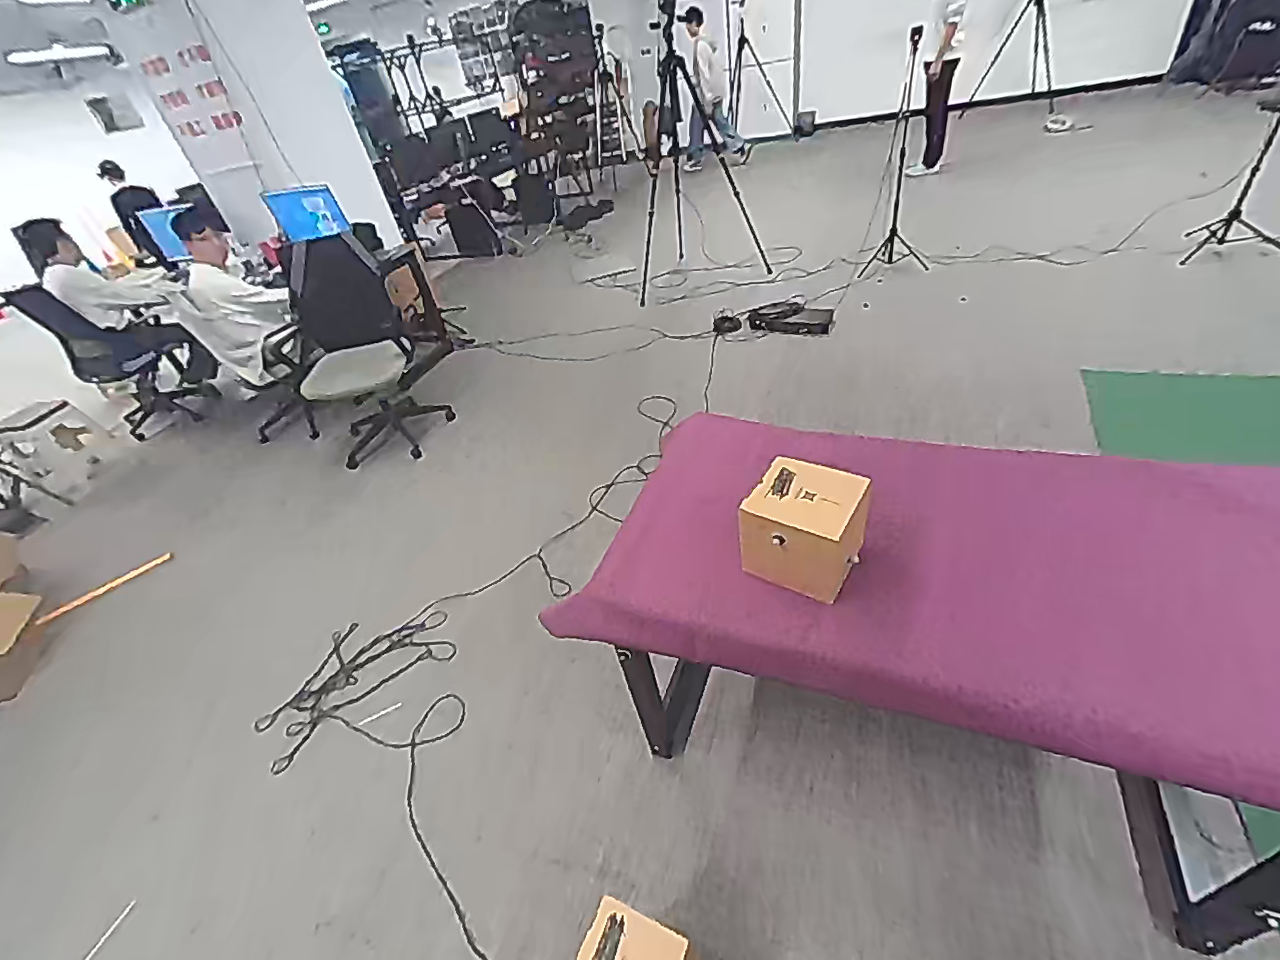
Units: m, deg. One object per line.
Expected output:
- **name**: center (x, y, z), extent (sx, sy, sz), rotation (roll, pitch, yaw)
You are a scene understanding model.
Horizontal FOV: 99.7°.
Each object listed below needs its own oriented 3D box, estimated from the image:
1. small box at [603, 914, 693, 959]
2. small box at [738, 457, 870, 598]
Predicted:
- **small box**: center (0.012, 1.026, 1.079), extent (0.168, 0.176, 0.179), rotation (10, 45, 25)
- **small box**: center (0.297, 0.087, 0.987), extent (0.179, 0.176, 0.168), rotation (19, 48, 32)
